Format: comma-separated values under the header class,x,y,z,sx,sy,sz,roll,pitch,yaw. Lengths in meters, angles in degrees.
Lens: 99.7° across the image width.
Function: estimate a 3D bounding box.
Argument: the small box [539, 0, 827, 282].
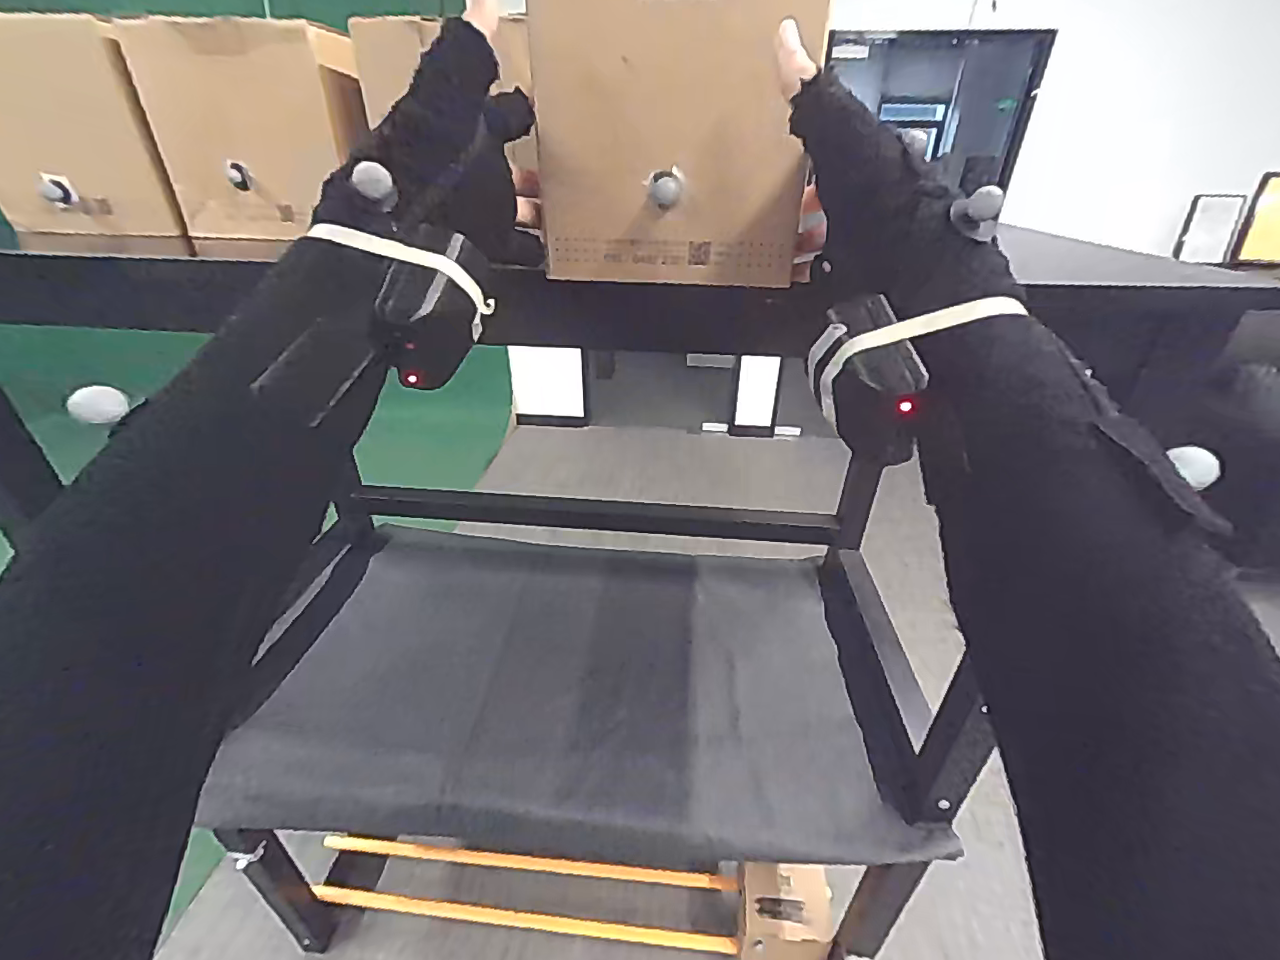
class,x,y,z,sx,sy,sz,roll,pitch,yaw
small box,0.030,-0.251,0.400,0.168,0.176,0.179,4,30,7
